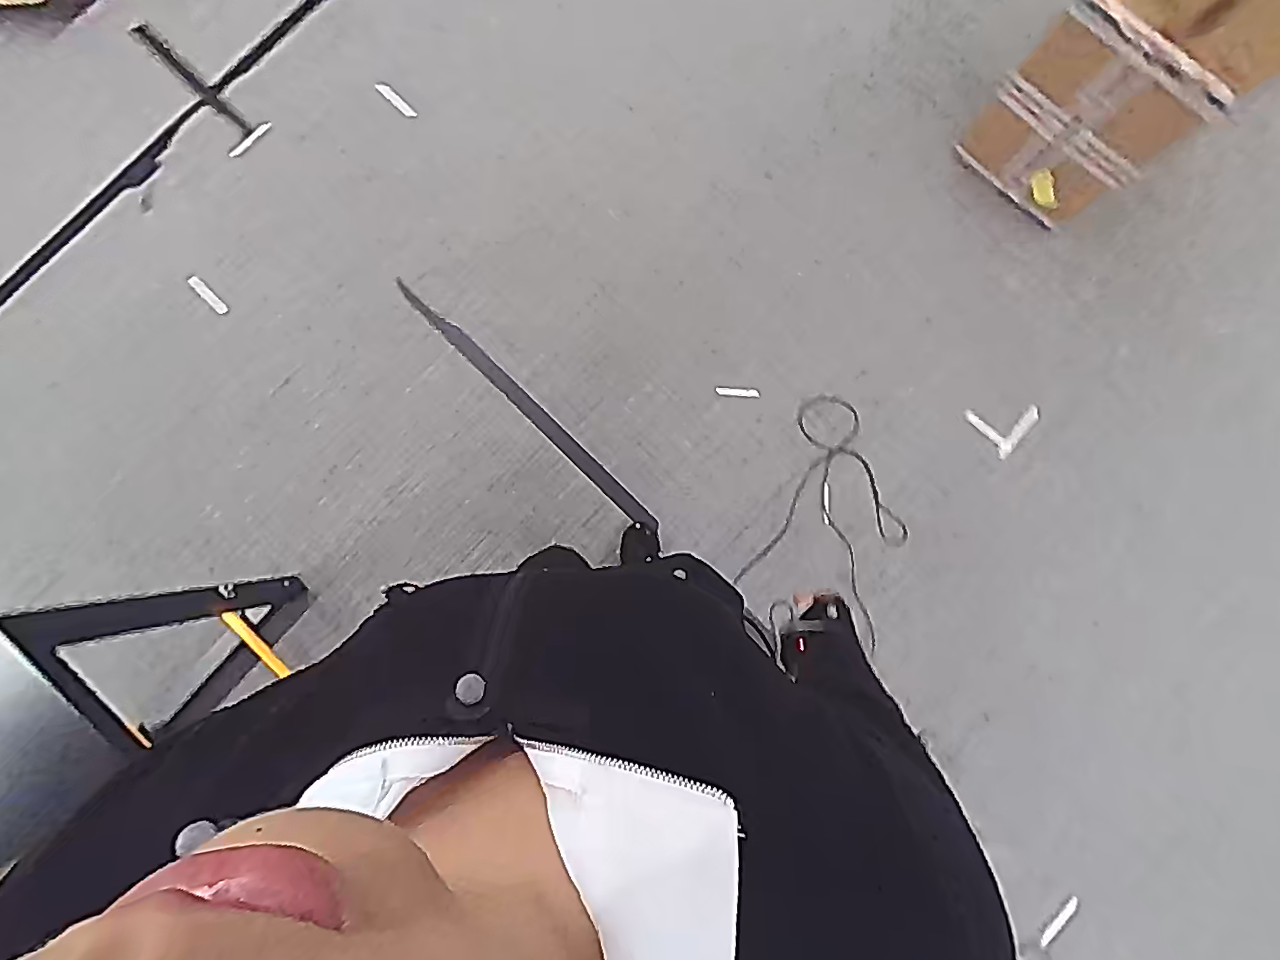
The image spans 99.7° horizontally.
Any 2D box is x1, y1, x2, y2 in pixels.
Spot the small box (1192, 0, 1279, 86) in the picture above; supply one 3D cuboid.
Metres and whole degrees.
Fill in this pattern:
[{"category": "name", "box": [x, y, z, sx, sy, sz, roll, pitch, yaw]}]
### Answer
[{"category": "small box", "box": [1.233, -0.917, 1.025, 0.168, 0.176, 0.179, 43, 88, 2]}]
